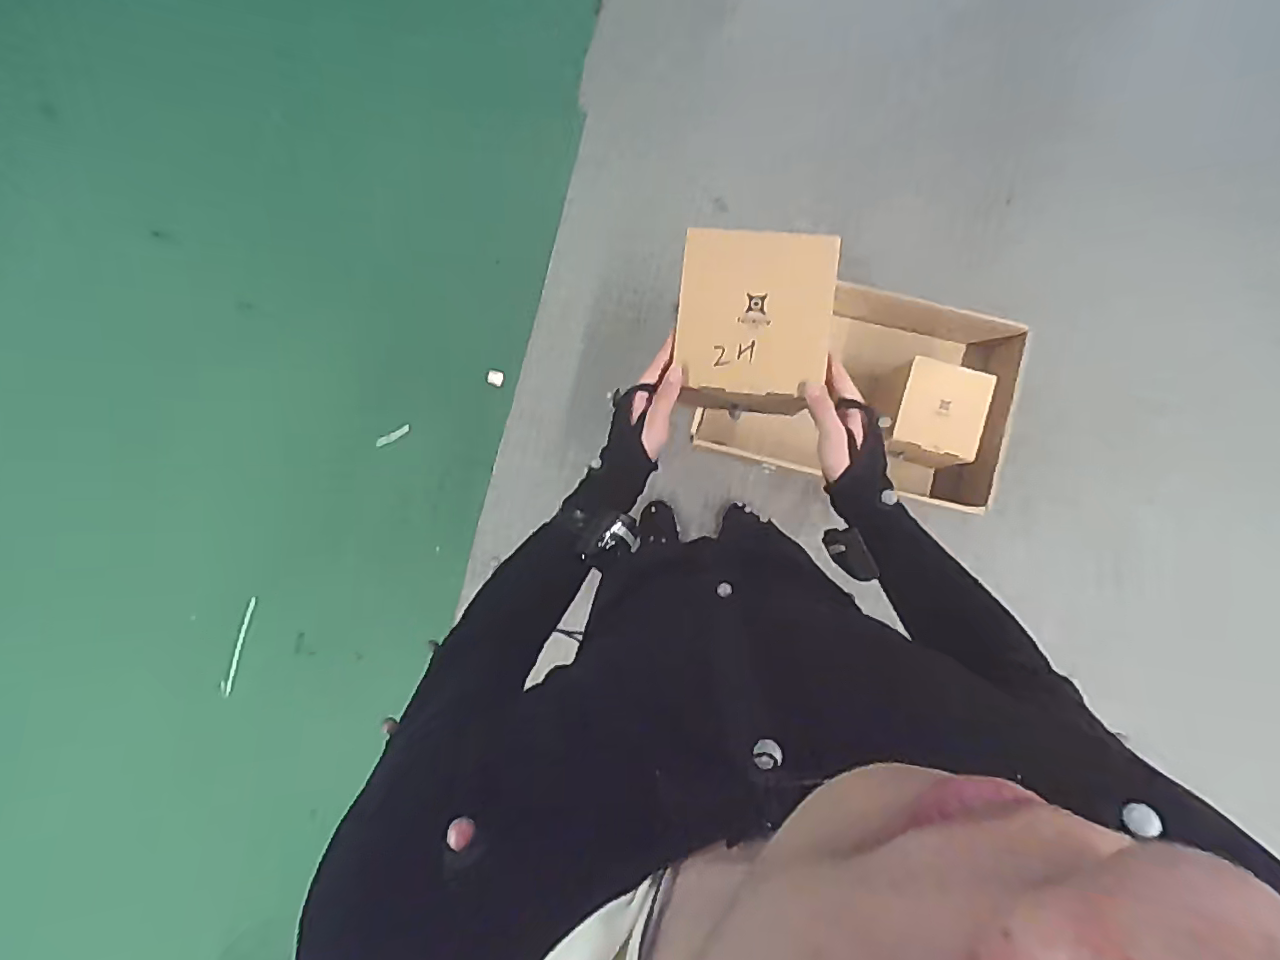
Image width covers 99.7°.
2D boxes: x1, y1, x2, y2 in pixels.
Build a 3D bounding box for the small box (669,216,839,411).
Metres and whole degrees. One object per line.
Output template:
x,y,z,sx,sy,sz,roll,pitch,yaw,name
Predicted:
0.126,-0.188,0.654,0.168,0.176,0.179,6,91,5,small box
